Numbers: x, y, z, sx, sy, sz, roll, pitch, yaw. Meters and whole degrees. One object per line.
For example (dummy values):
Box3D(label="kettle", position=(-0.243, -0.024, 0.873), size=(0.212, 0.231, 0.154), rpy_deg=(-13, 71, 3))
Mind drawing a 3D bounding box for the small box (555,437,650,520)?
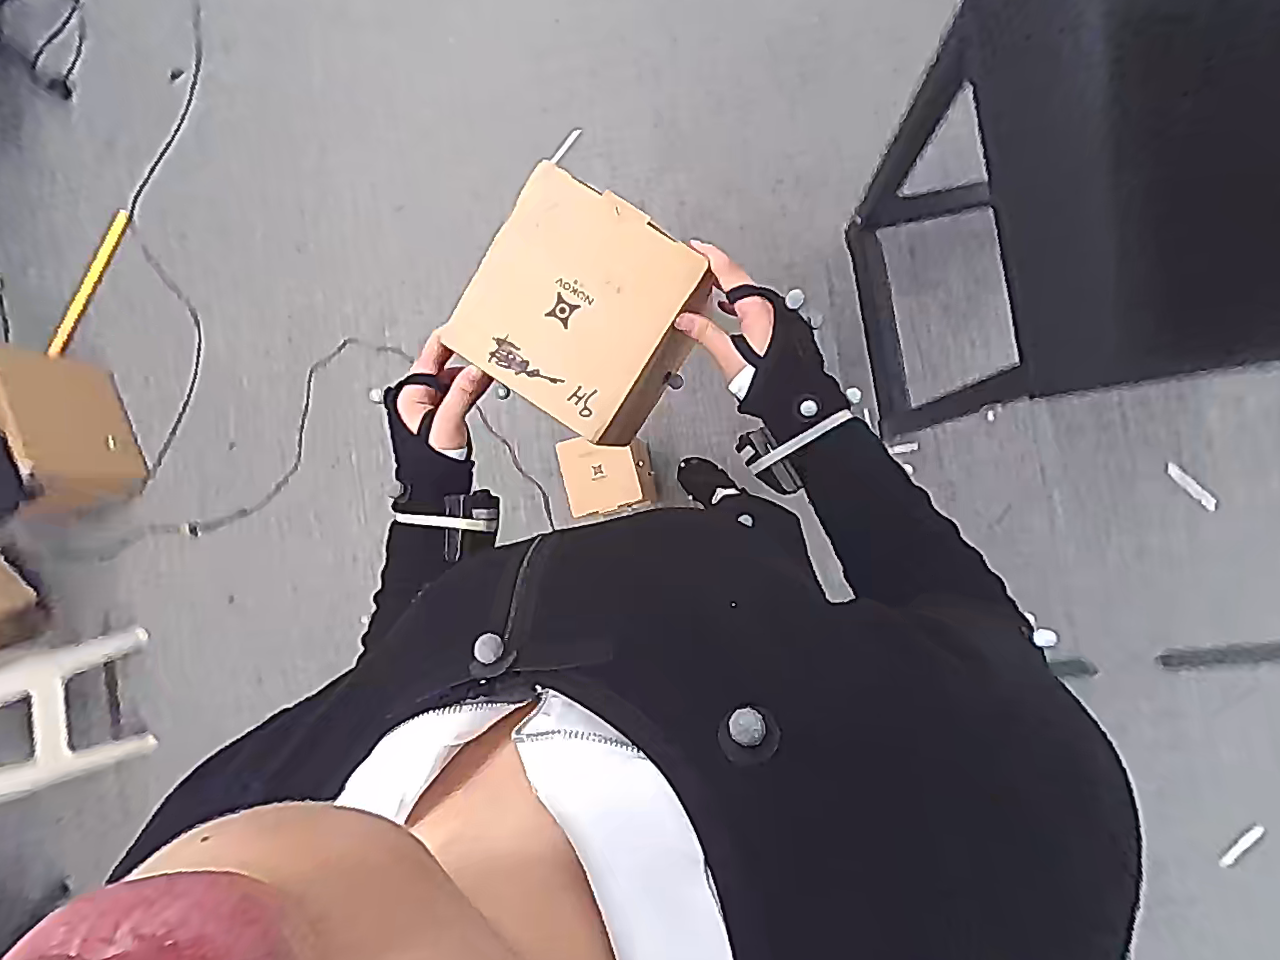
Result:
Box3D(label="small box", position=(-0.081, -0.011, 1.277), size=(0.168, 0.176, 0.179), rpy_deg=(-16, 85, 6))

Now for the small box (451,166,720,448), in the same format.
Box3D(label="small box", position=(-0.040, -0.147, 0.526), size=(0.168, 0.176, 0.179), rpy_deg=(35, 96, 6))

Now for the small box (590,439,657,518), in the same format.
Box3D(label="small box", position=(-0.056, 0.000, 1.437), size=(0.168, 0.176, 0.179), rpy_deg=(-13, 87, 8))
